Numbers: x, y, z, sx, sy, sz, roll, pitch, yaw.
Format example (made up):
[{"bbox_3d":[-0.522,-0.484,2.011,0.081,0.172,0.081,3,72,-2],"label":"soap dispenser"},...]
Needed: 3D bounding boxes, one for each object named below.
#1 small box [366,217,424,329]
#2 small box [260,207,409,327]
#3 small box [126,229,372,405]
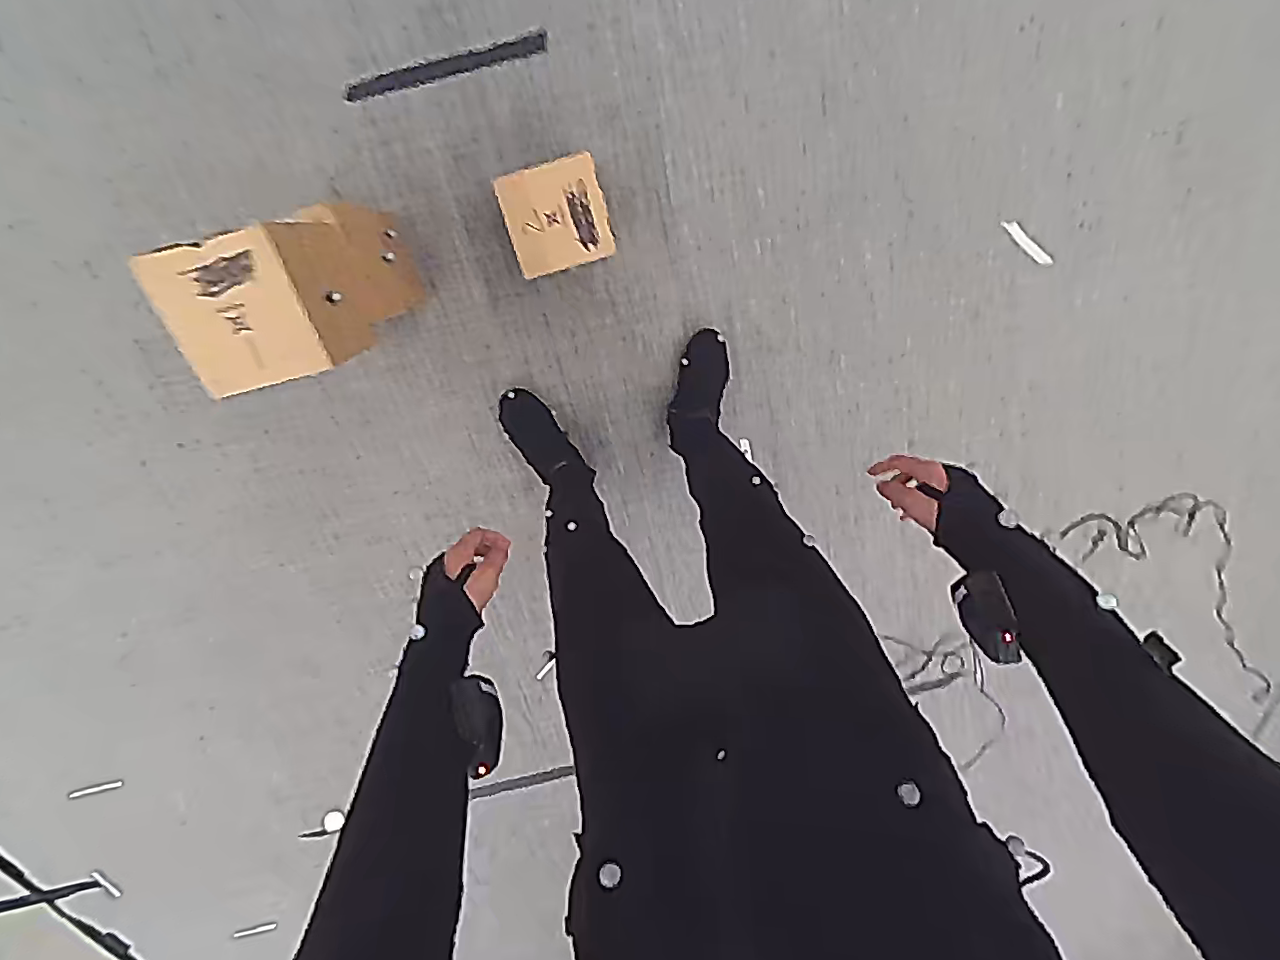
[{"bbox_3d":[-0.531,-0.377,1.007,0.168,0.176,0.179,-17,116,2],"label":"small box"},{"bbox_3d":[-0.502,-0.315,0.857,0.179,0.176,0.168,-18,115,2],"label":"small box"},{"bbox_3d":[-0.494,-0.222,0.719,0.168,0.176,0.179,-14,116,2],"label":"small box"}]
